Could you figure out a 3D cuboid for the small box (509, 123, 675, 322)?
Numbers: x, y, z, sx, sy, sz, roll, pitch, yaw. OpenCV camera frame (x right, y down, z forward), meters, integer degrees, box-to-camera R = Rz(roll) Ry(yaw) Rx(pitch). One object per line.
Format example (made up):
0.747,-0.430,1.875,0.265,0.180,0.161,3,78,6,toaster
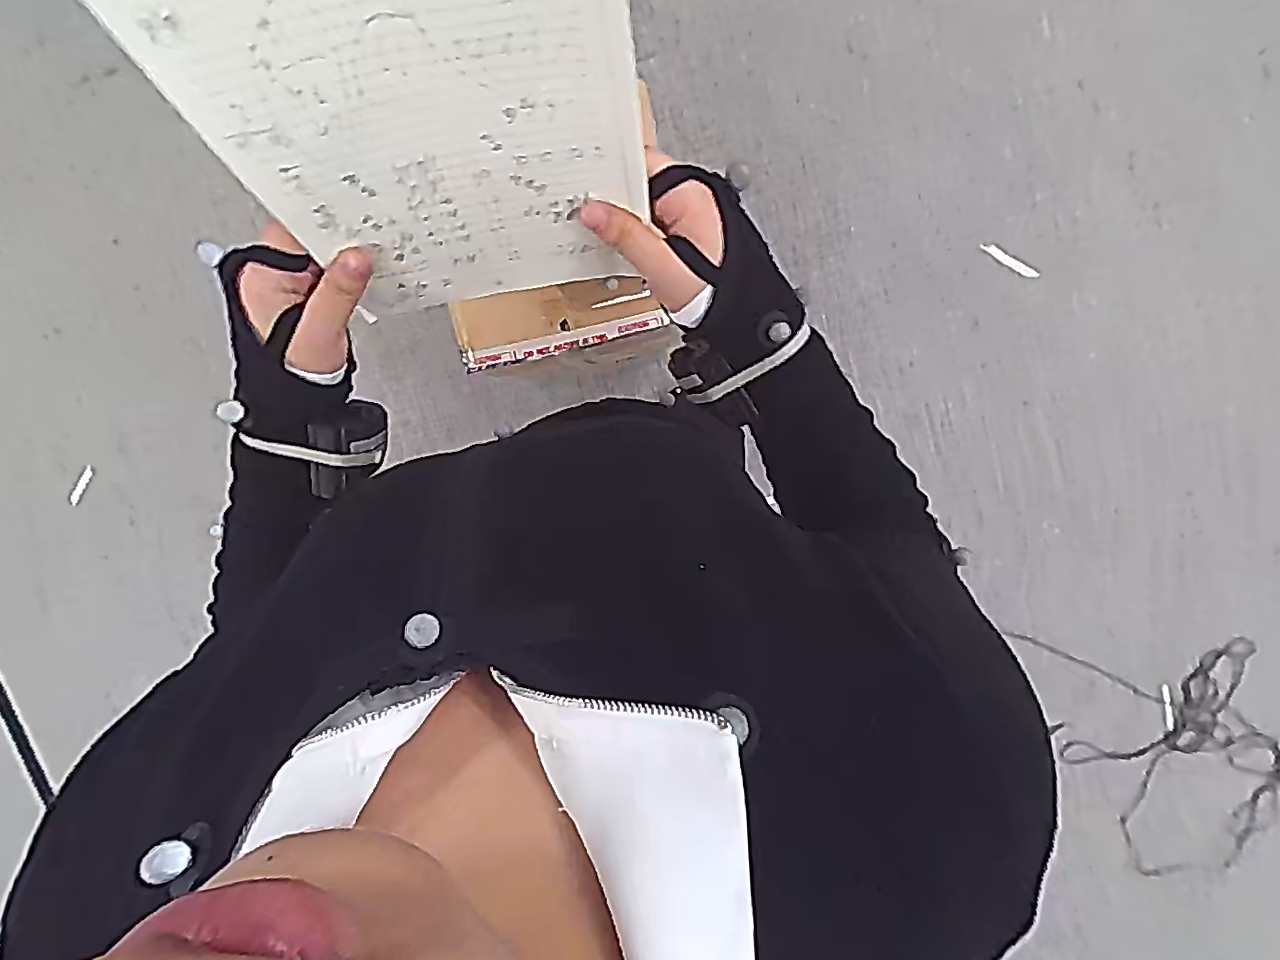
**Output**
-0.058,-0.322,0.713,0.168,0.176,0.179,-14,100,1,small box

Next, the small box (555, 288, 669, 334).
-0.063,-0.347,0.876,0.179,0.176,0.168,-17,98,3,small box
